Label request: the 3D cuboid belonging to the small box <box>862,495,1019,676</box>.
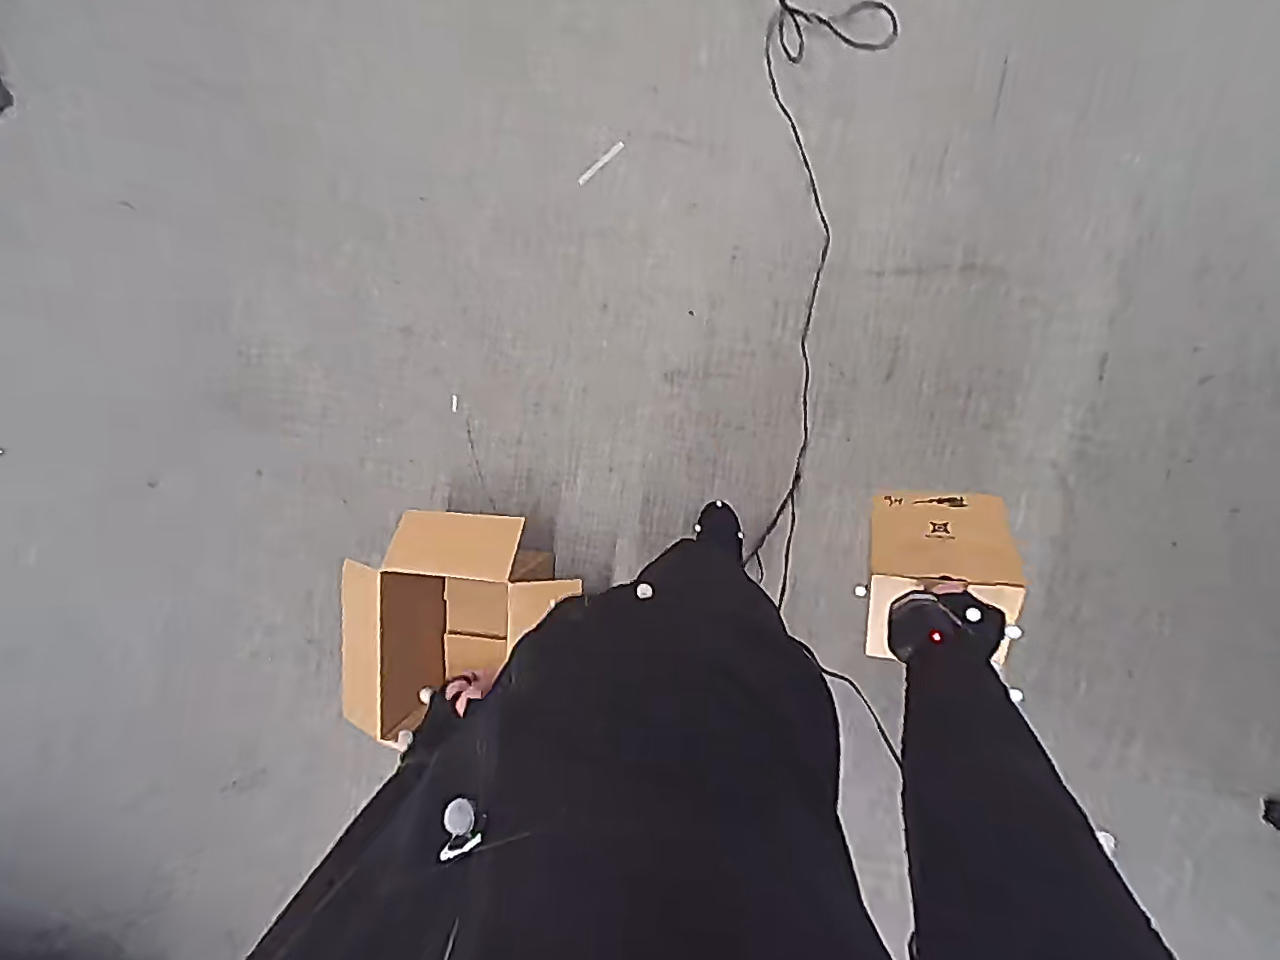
[{"bbox_3d":[0.406,0.144,0.756,0.168,0.179,0.176,4,127,23],"label":"small box"}]
